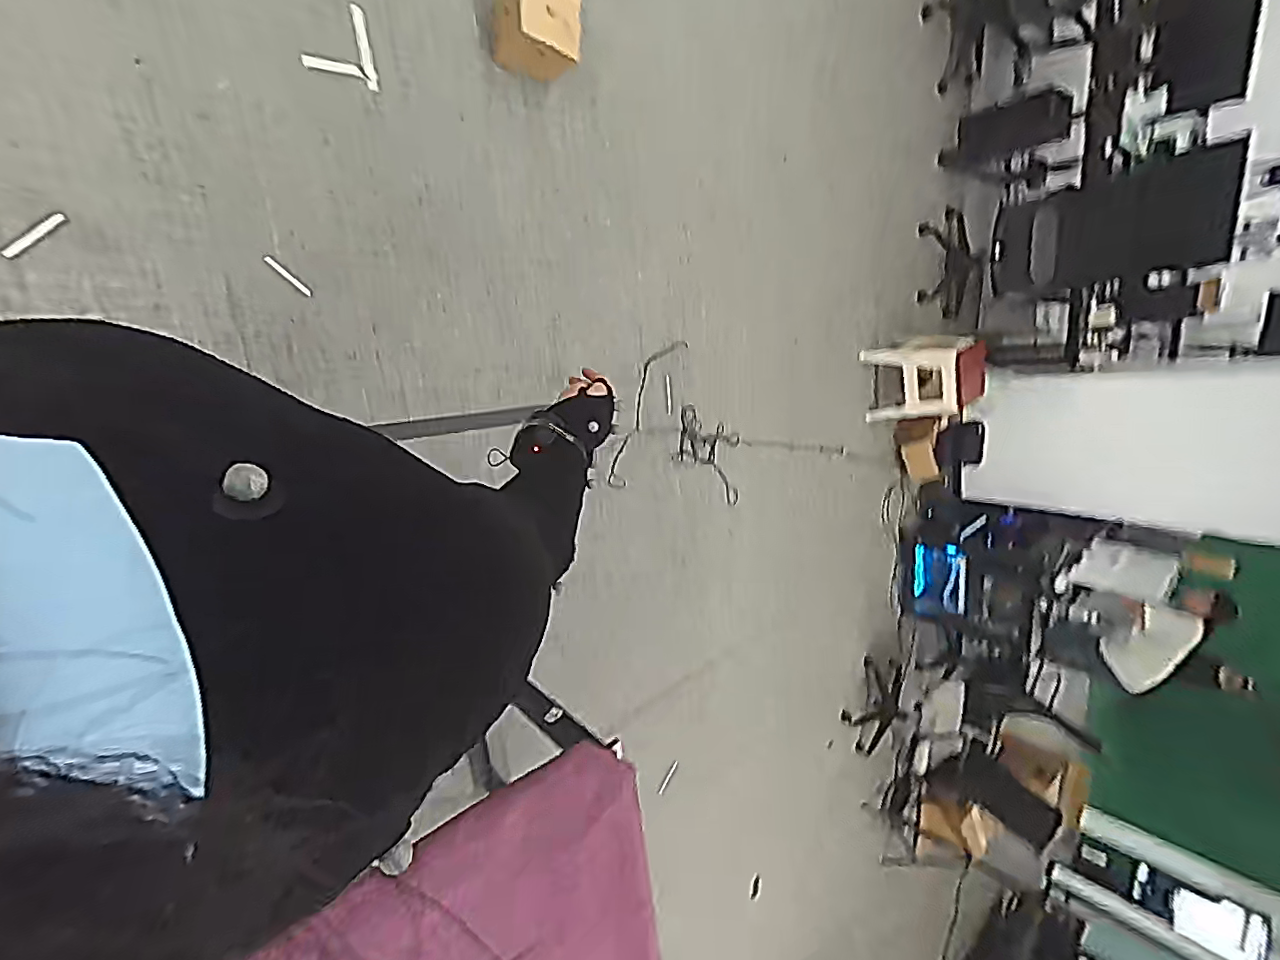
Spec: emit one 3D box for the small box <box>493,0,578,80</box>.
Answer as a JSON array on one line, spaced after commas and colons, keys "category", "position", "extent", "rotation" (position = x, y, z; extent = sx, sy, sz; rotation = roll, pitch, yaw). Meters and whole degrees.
[{"category": "small box", "position": [-0.286, -1.229, 1.461], "extent": [0.179, 0.176, 0.168], "rotation": [-4, 100, -40]}]
